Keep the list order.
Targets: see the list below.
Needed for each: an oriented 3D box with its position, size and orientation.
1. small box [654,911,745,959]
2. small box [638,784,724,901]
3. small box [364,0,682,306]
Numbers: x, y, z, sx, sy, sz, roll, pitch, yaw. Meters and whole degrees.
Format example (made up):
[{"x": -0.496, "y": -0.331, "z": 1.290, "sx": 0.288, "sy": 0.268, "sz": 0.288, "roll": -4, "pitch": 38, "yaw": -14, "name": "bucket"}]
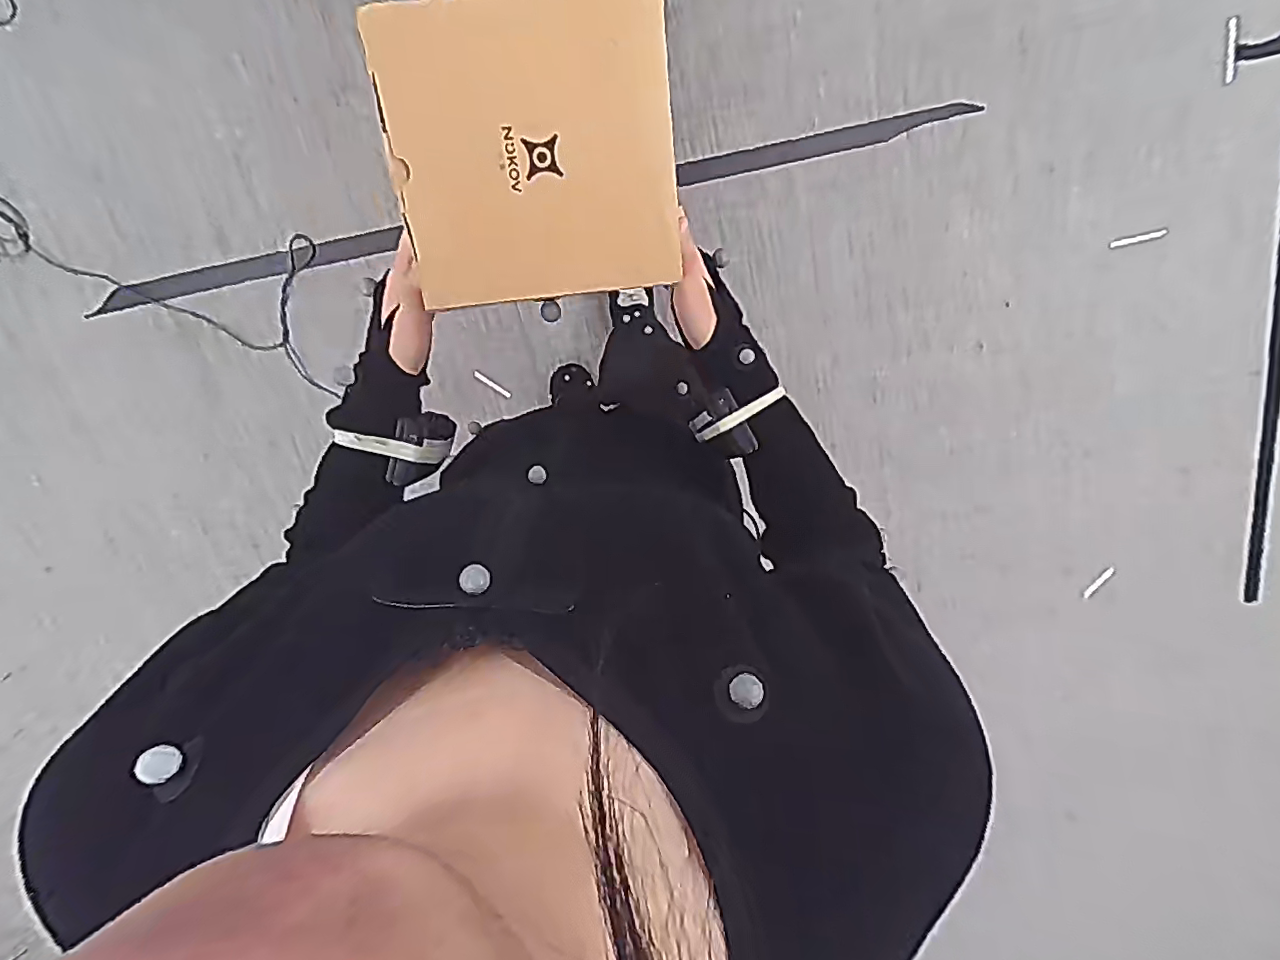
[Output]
[{"x": 0.126, "y": 0.997, "z": 1.058, "sx": 0.179, "sy": 0.176, "sz": 0.168, "roll": -10, "pitch": 106, "yaw": -2, "name": "small box"}, {"x": 0.098, "y": 0.911, "z": 1.374, "sx": 0.179, "sy": 0.176, "sz": 0.168, "roll": -14, "pitch": 105, "yaw": 0, "name": "small box"}, {"x": -0.069, "y": -0.230, "z": 0.411, "sx": 0.179, "sy": 0.176, "sz": 0.168, "roll": -6, "pitch": 111, "yaw": 0, "name": "small box"}]
